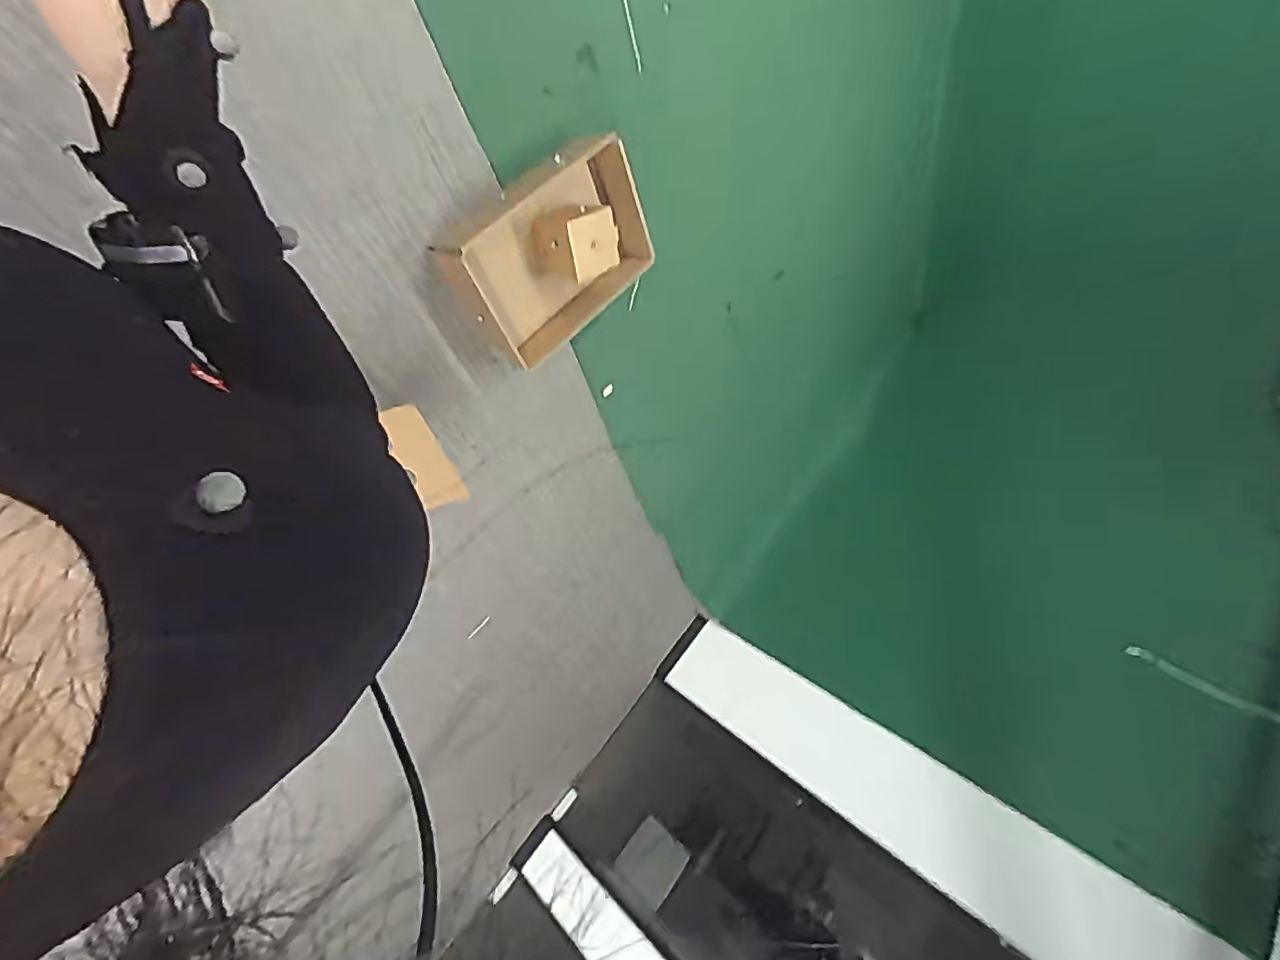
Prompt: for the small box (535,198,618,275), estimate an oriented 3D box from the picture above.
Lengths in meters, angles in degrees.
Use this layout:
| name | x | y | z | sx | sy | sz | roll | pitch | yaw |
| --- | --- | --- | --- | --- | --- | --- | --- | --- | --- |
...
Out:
| name | x | y | z | sx | sy | sz | roll | pitch | yaw |
| --- | --- | --- | --- | --- | --- | --- | --- | --- | --- |
| small box | -0.195 | -0.734 | 1.622 | 0.179 | 0.176 | 0.168 | -38 | 137 | -29 |
